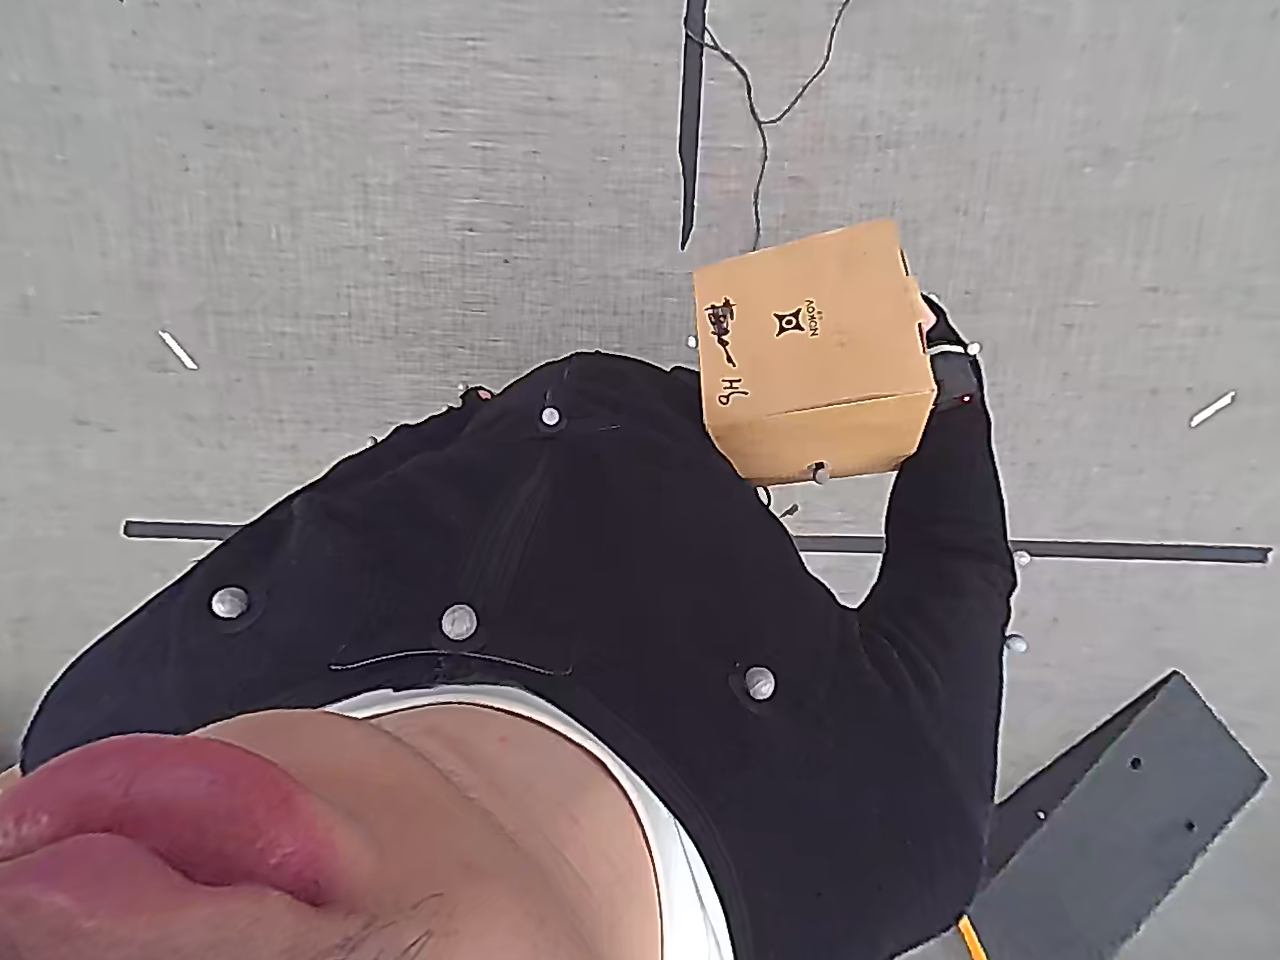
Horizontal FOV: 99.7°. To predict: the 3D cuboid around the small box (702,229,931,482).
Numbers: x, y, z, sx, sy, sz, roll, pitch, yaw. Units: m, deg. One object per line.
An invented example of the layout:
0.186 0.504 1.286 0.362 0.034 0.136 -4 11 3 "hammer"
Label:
0.163 -0.107 0.535 0.179 0.176 0.168 -6 67 16 "small box"
